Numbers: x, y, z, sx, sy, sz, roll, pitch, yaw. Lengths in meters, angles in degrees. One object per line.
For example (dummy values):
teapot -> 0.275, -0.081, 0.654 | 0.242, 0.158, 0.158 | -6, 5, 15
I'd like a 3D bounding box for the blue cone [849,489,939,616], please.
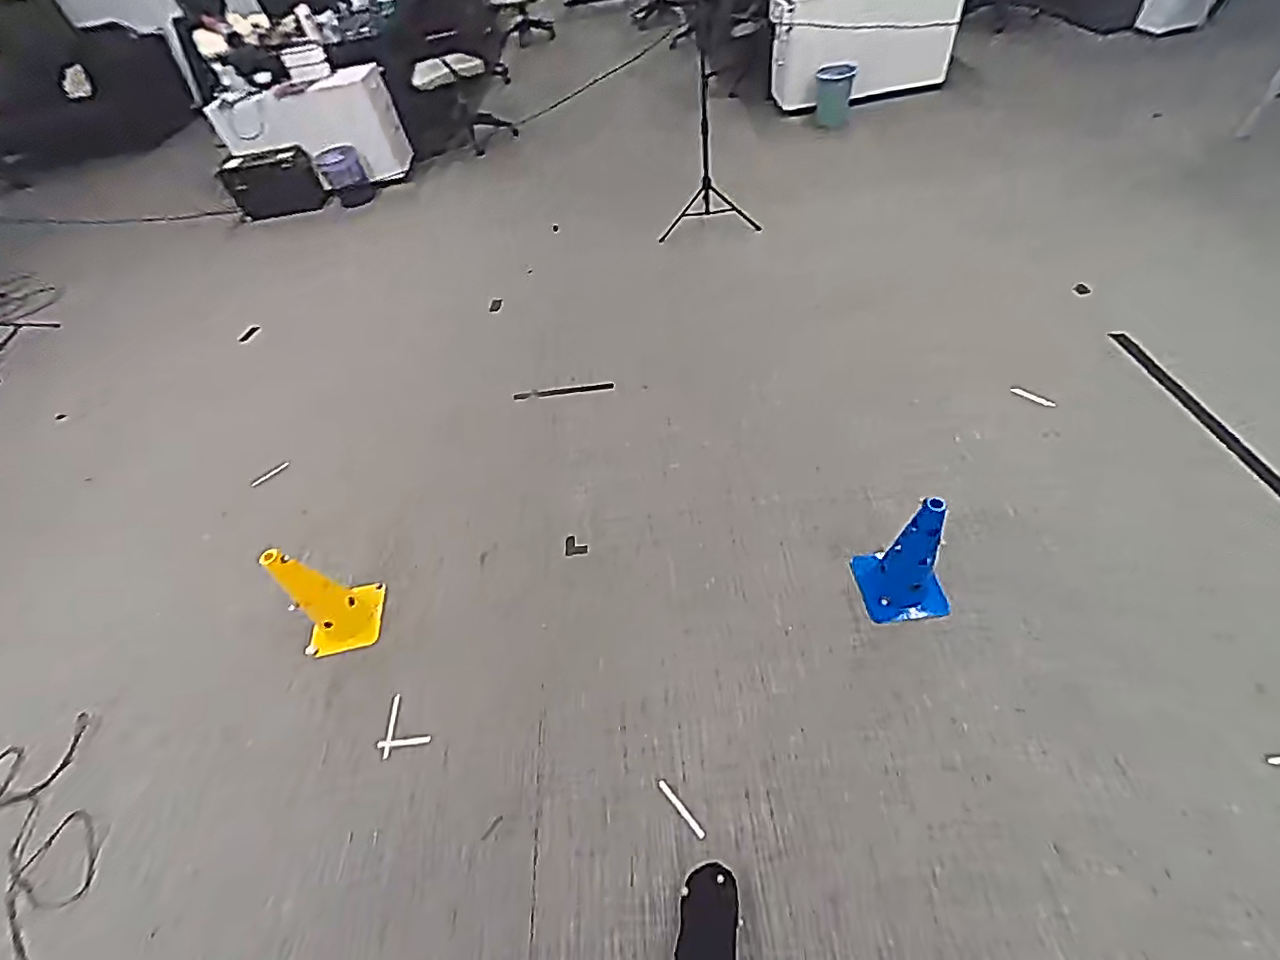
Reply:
blue cone -> 0.646, 0.161, 1.304 | 0.193, 0.380, 0.192 | -7, 48, 4
